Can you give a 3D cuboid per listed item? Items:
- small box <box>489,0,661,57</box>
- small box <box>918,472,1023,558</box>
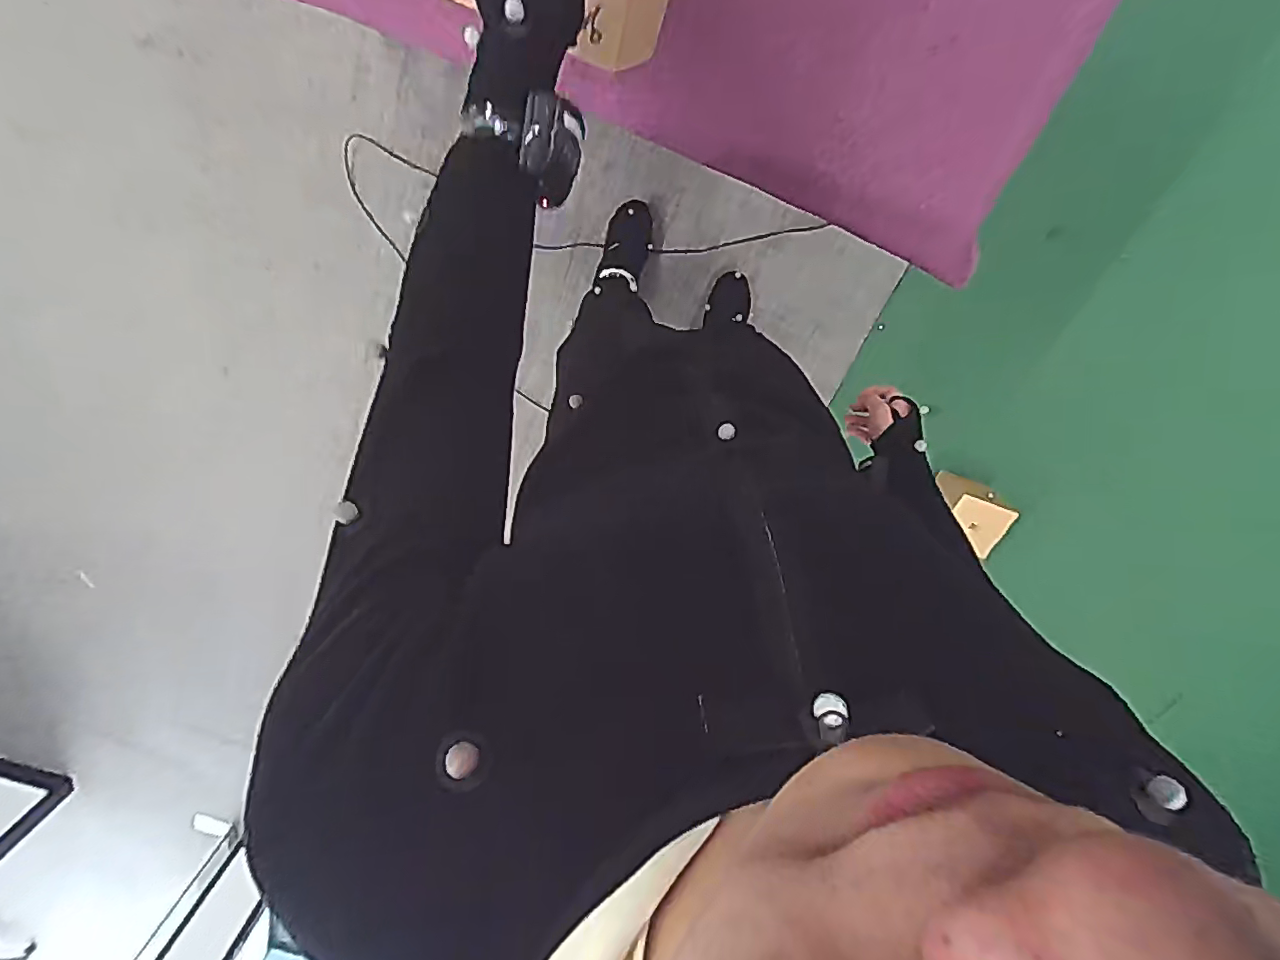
[{"bbox_3d":[-0.056,-0.505,0.462,0.168,0.176,0.179,24,133,-3],"label":"small box"},{"bbox_3d":[0.958,0.094,1.588,0.179,0.176,0.168,19,117,-5],"label":"small box"}]
